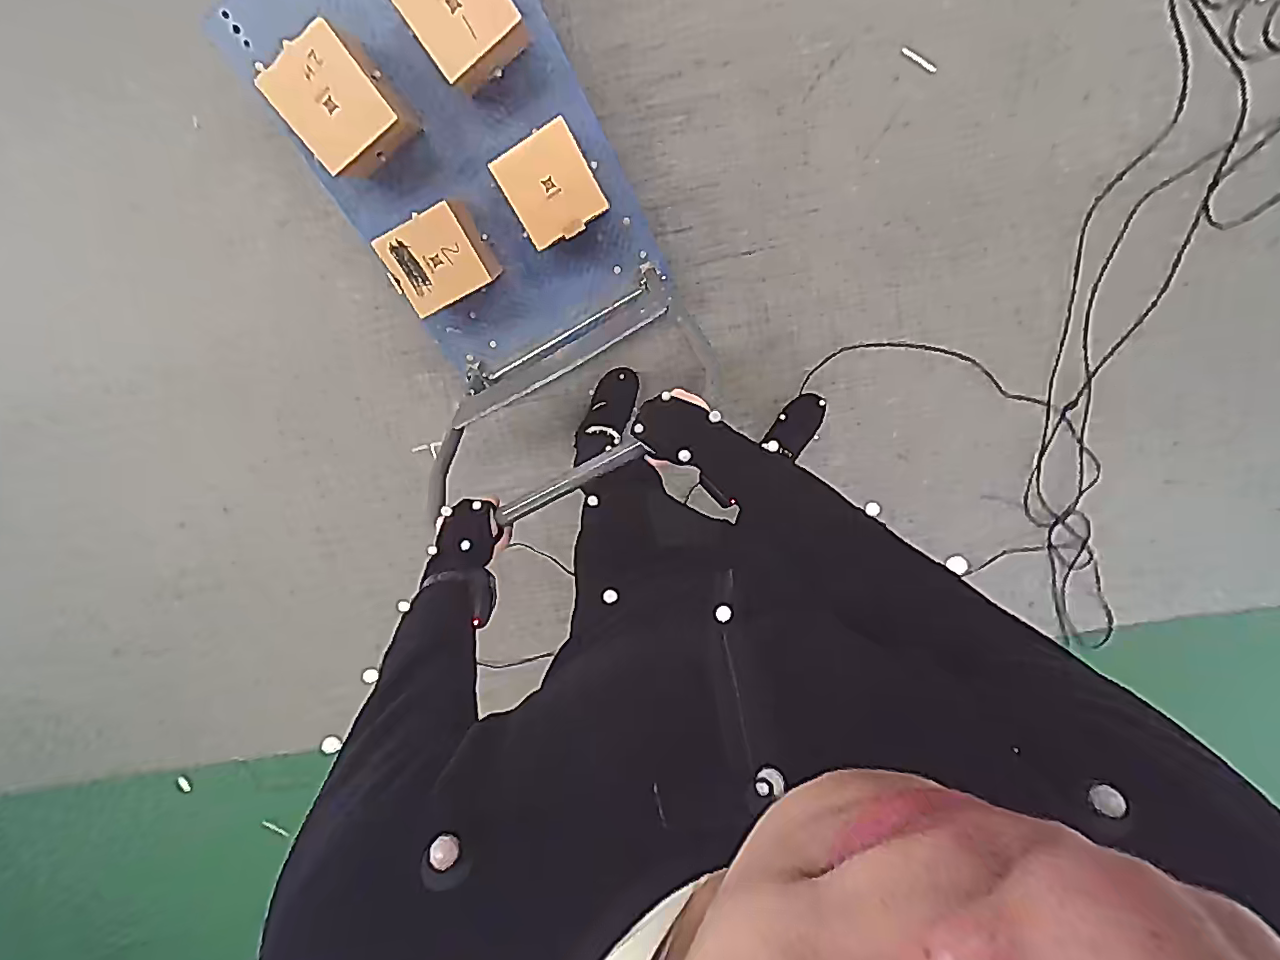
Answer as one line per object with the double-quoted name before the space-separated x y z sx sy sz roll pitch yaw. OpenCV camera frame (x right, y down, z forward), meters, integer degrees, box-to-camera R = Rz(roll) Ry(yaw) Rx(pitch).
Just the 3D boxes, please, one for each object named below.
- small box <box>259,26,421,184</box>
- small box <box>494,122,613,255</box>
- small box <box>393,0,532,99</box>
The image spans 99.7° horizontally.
"small box" -0.545 -0.687 1.013 0.168 0.176 0.179 -33 116 11
"small box" -0.172 -0.587 1.101 0.168 0.176 0.179 -28 118 10
"small box" -0.312 -0.822 0.962 0.168 0.176 0.179 -33 117 12
